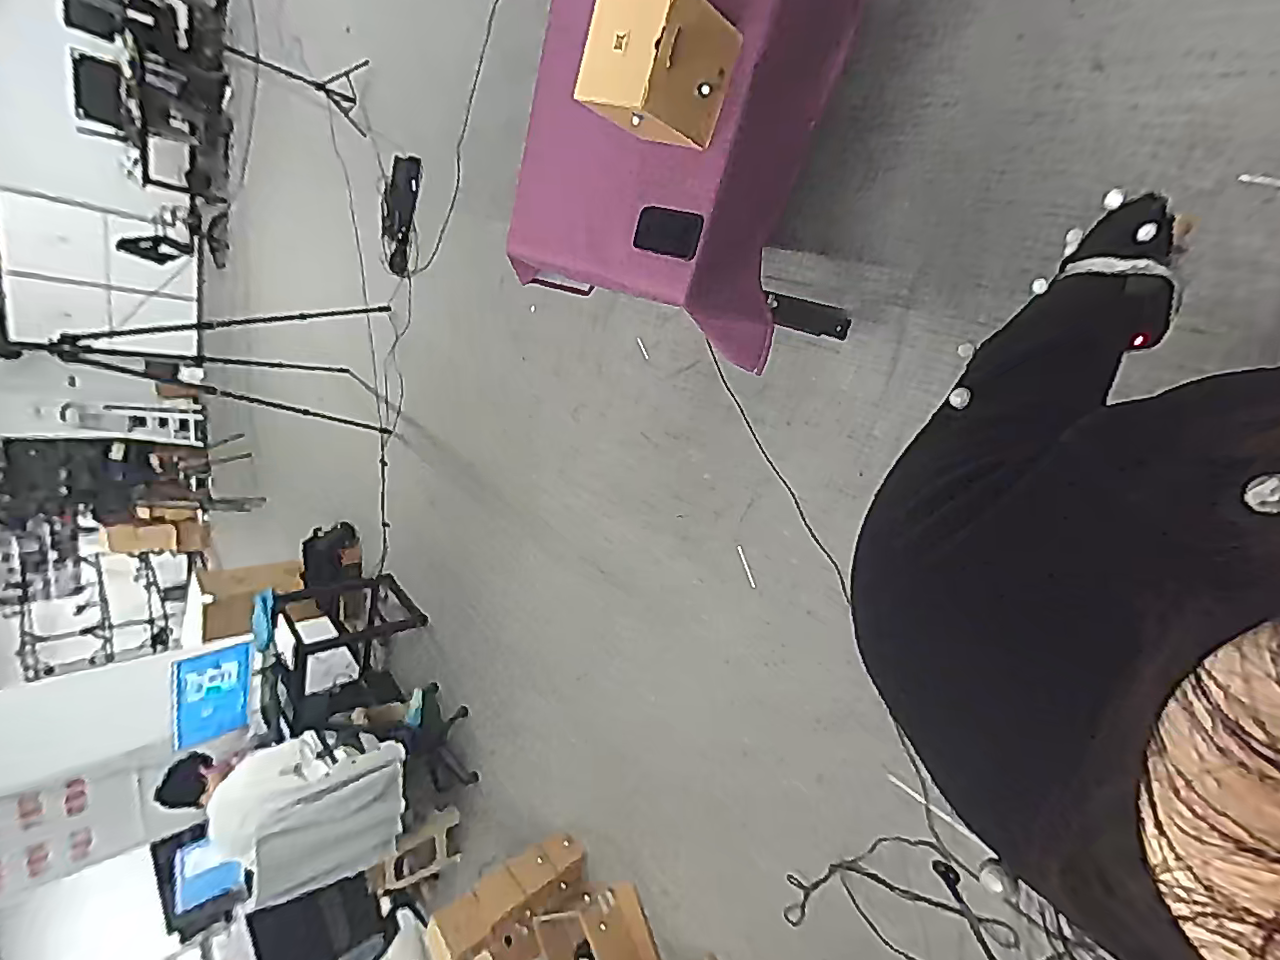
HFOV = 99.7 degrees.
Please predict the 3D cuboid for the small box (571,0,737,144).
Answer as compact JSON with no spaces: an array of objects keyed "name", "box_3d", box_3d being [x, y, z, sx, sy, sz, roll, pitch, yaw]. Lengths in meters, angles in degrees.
[{"name":"small box","box_3d":[0.023,-0.673,0.877,0.179,0.176,0.168,36,117,34]}]
